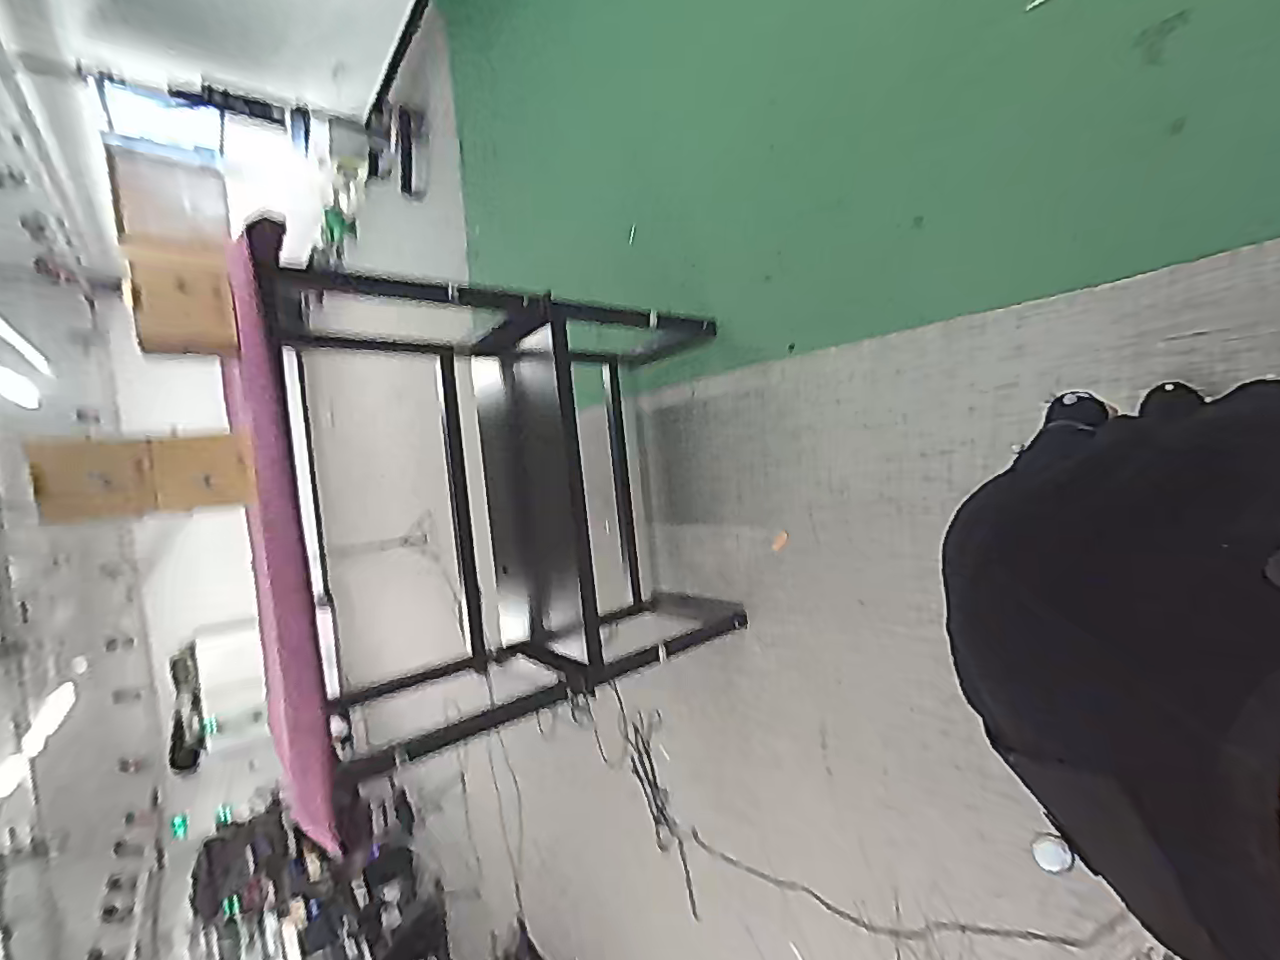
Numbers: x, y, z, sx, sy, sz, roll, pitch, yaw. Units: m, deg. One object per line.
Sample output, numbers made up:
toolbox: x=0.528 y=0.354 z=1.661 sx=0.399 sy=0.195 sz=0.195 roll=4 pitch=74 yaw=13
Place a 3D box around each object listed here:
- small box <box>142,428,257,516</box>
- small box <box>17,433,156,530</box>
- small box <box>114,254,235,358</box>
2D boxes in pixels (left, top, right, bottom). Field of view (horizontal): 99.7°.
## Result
small box: x=-0.938 y=-0.024 z=1.165 sx=0.179 sy=0.176 sz=0.168 roll=5 pitch=100 yaw=52
small box: x=-1.068 y=-0.007 z=1.066 sx=0.179 sy=0.176 sz=0.168 roll=6 pitch=101 yaw=51
small box: x=-0.986 y=-0.363 z=1.158 sx=0.179 sy=0.176 sz=0.168 roll=-7 pitch=91 yaw=53
